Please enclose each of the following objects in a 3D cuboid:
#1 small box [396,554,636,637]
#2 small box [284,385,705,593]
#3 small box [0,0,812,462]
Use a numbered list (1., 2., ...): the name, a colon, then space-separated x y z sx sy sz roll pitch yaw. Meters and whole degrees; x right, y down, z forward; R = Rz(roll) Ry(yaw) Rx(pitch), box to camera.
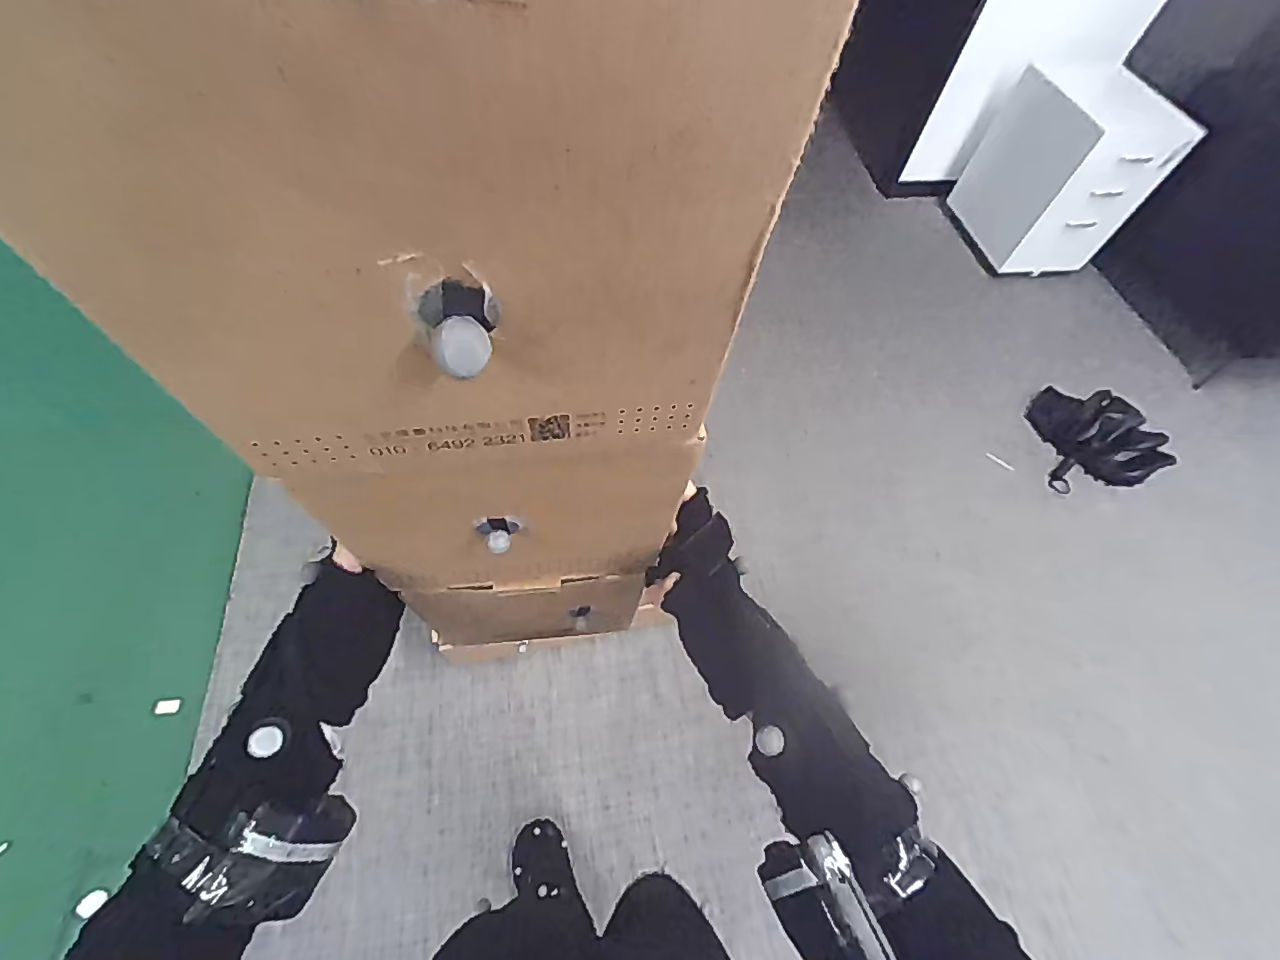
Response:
1. small box: -0.098 0.034 0.475 0.168 0.176 0.179 -3 62 -9
2. small box: -0.078 -0.040 0.330 0.179 0.176 0.168 -6 64 -11
3. small box: -0.066 -0.117 0.186 0.168 0.176 0.179 -6 64 -9
